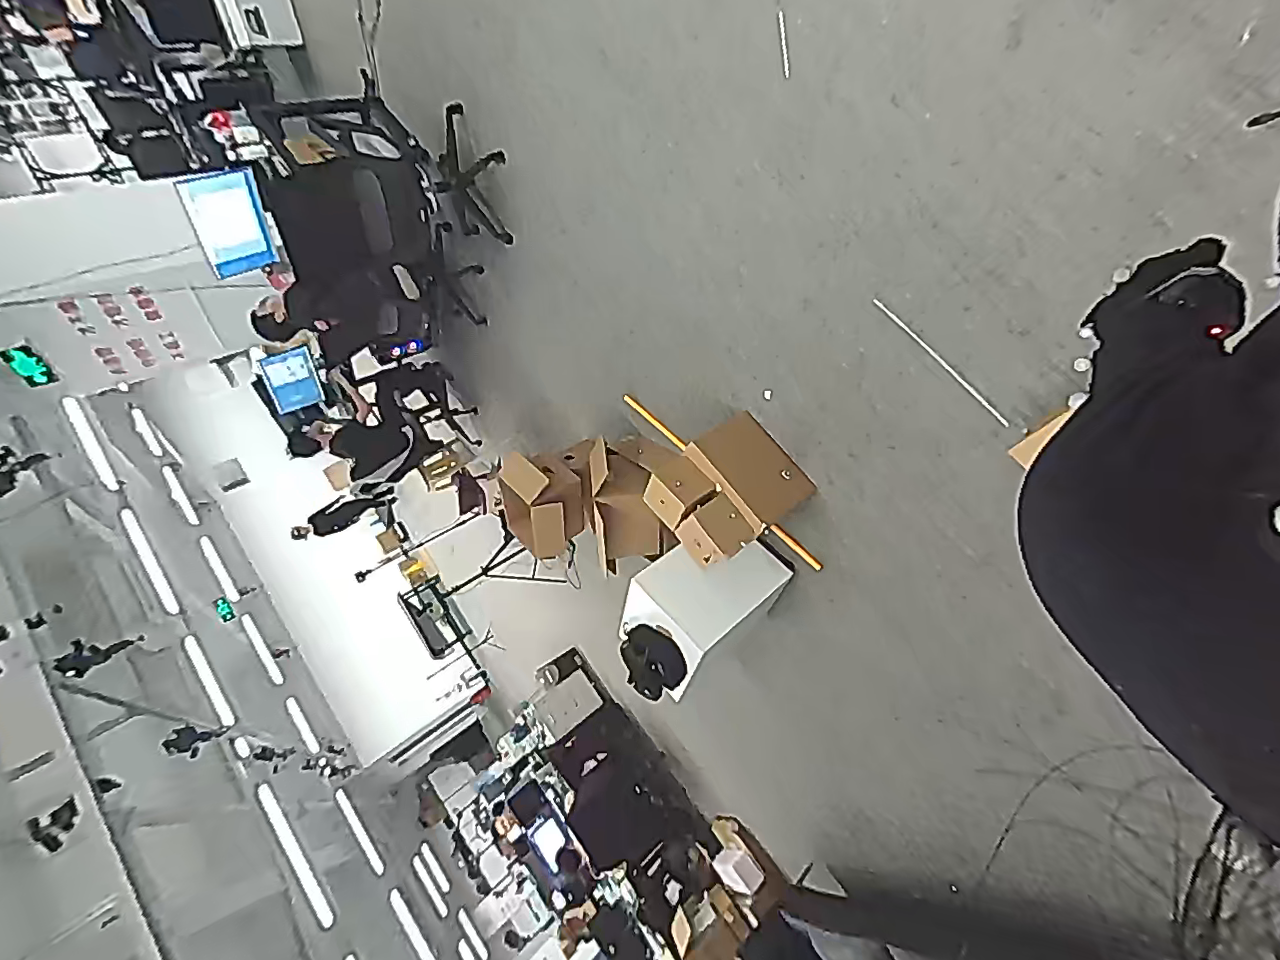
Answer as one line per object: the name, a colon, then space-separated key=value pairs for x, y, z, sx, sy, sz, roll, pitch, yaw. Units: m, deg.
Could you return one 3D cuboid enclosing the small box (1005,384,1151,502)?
small box: x=0.993 y=-0.084 z=1.227 sx=0.168 sy=0.176 sz=0.179 roll=50 pitch=148 yaw=14
